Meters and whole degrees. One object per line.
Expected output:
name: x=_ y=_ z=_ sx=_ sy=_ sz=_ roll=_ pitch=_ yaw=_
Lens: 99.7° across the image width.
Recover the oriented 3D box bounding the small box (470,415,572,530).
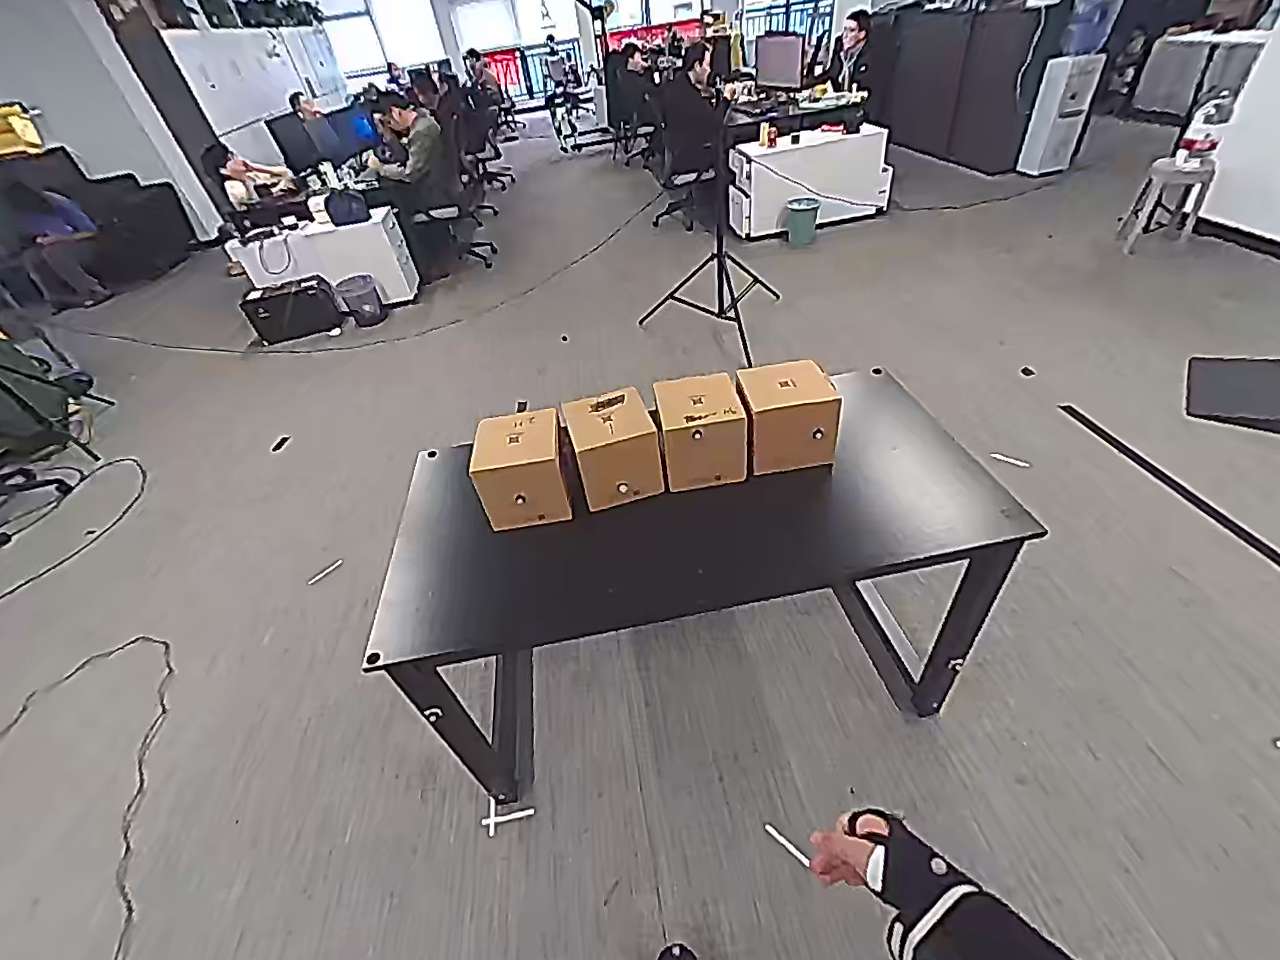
small box: x=-0.240 y=-0.009 z=1.135 sx=0.168 sy=0.176 sz=0.179 roll=-9 pitch=40 yaw=0
